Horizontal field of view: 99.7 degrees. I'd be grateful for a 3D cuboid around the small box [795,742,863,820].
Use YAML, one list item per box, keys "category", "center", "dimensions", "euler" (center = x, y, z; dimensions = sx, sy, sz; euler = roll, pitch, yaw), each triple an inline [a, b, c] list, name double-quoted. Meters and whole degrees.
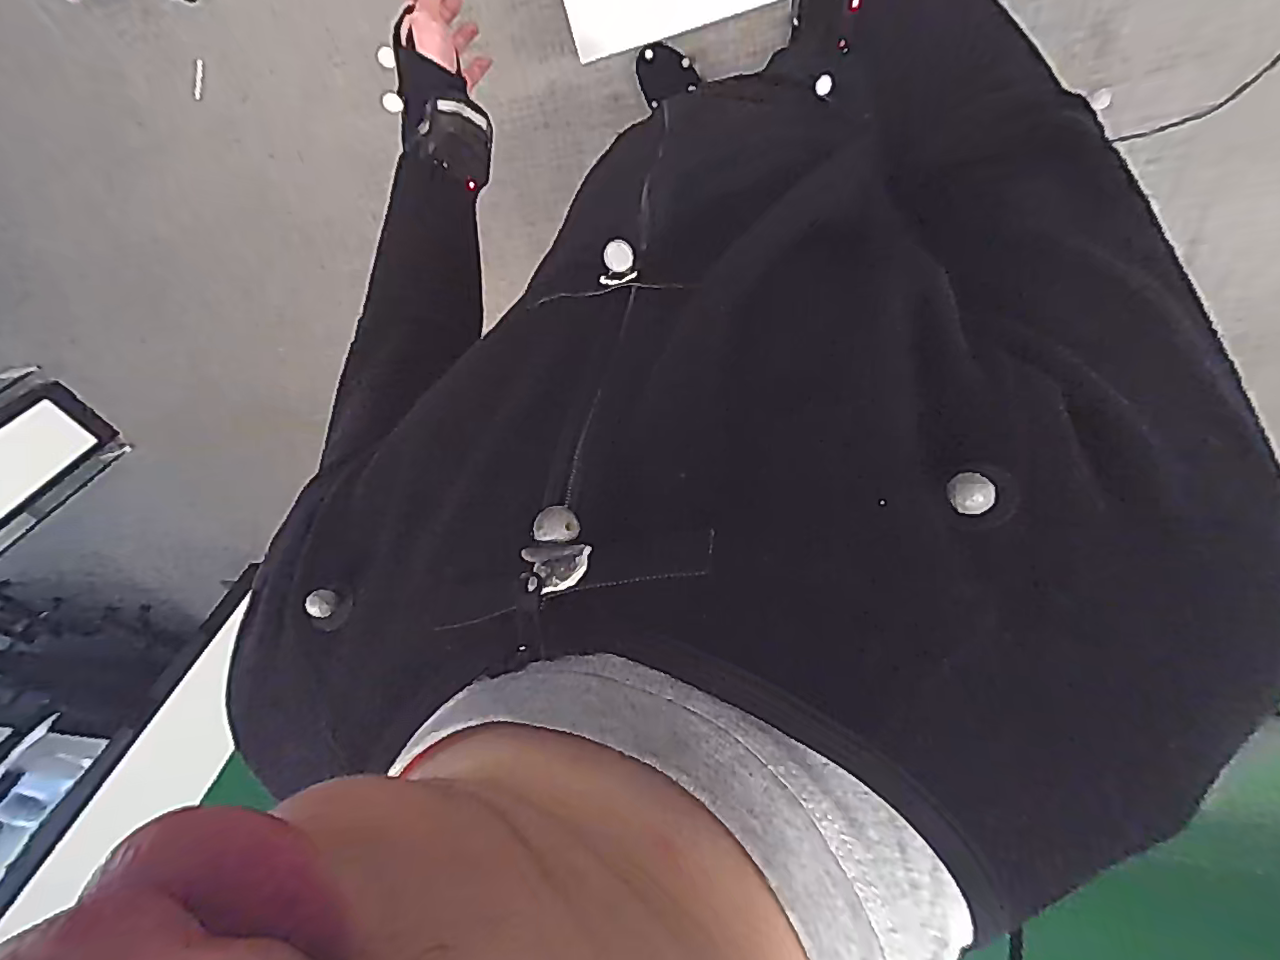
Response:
- category: "small box"
  center: [0.583, 0.940, 1.691]
  dimensions: [0.179, 0.176, 0.168]
  euler: [0, 134, 12]
